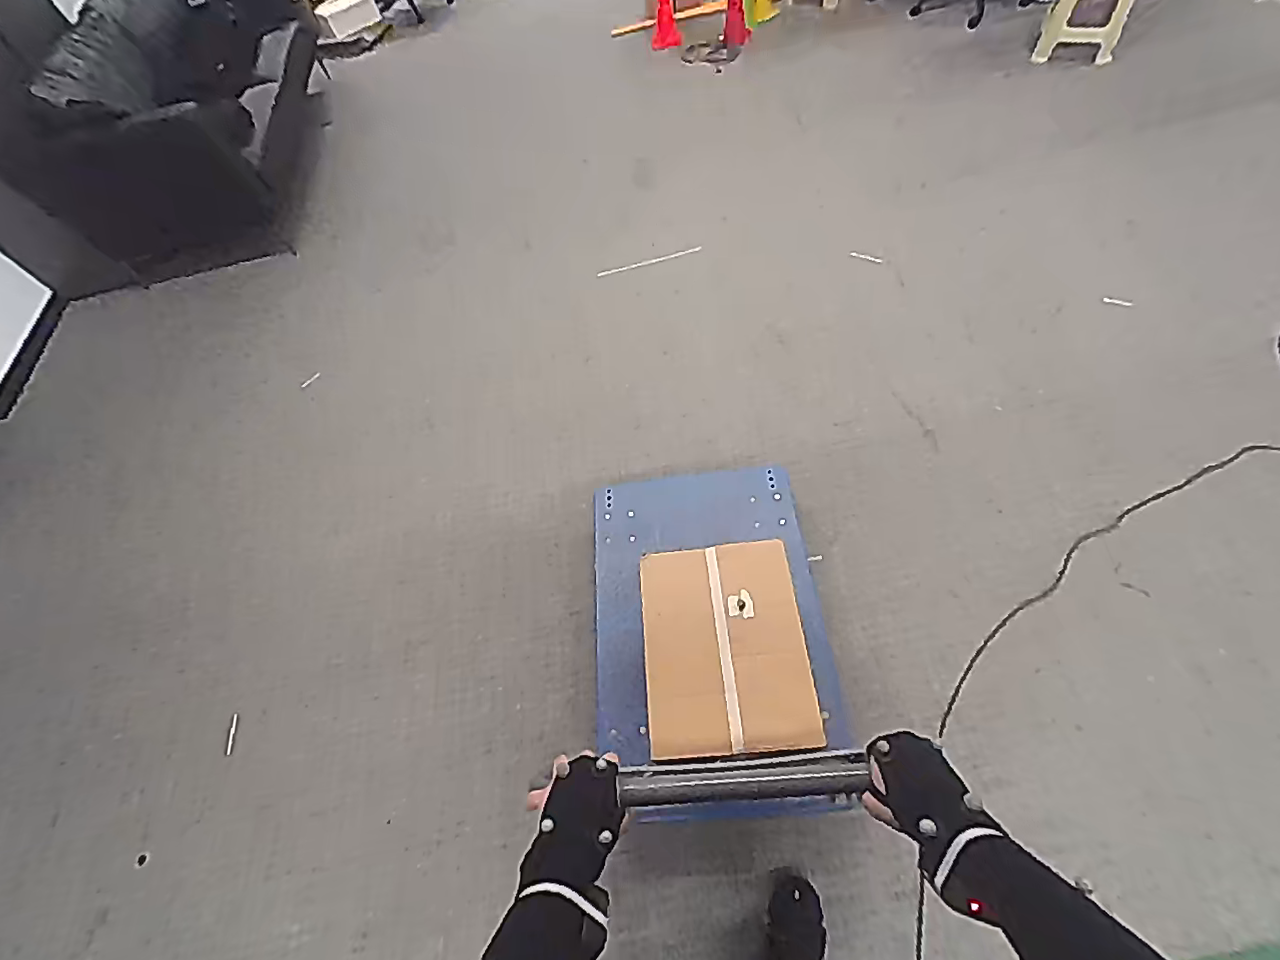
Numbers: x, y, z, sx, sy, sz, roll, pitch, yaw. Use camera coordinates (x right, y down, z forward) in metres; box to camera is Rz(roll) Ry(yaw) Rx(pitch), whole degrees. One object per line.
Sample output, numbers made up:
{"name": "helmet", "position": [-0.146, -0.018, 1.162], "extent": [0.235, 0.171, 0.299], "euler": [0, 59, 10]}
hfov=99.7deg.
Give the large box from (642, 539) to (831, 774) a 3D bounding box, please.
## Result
{"name": "large box", "position": [0.191, 0.392, 1.179], "extent": [0.320, 0.320, 0.408], "euler": [-7, 56, 5]}
